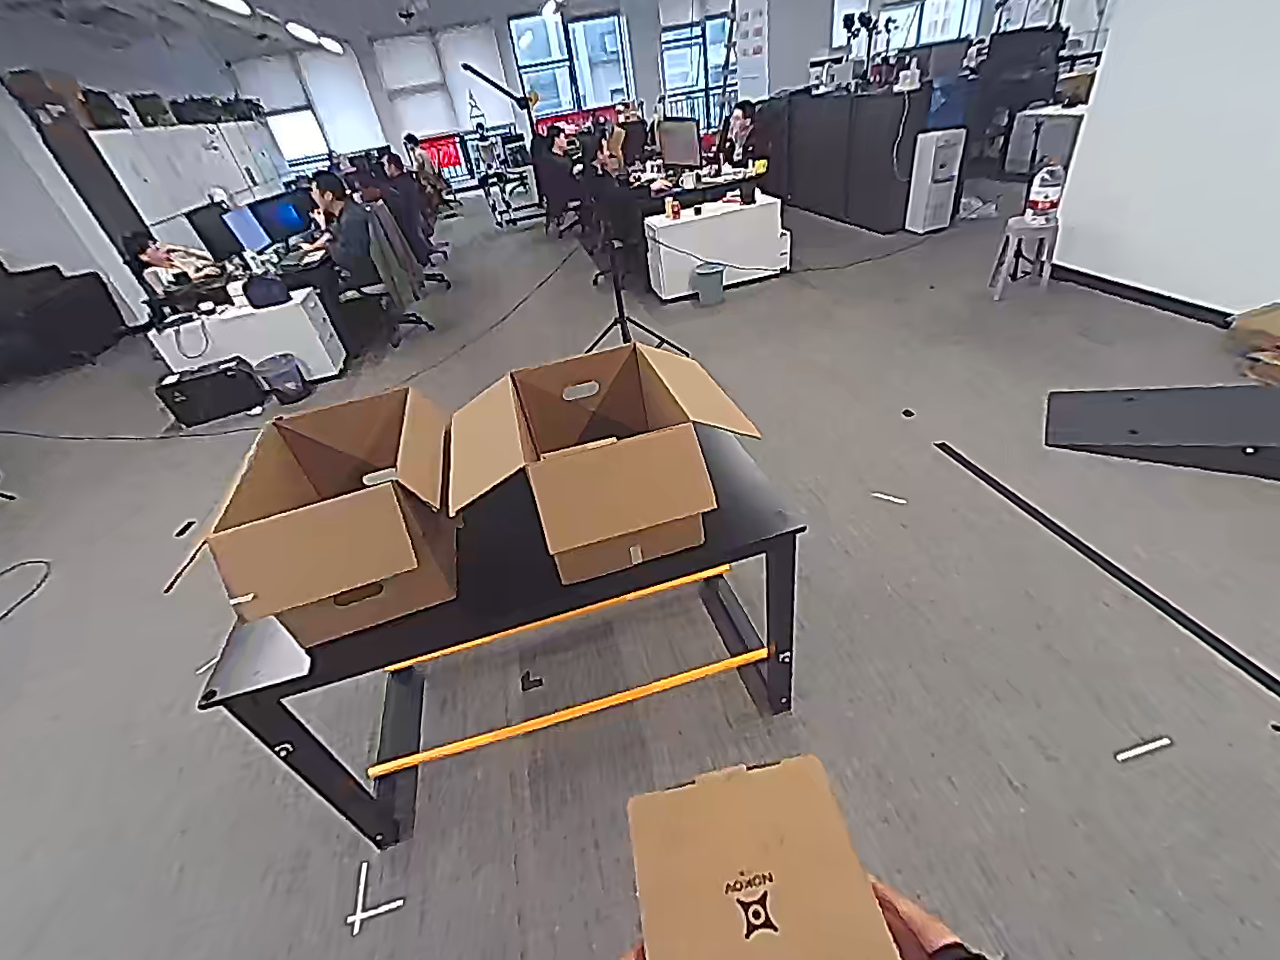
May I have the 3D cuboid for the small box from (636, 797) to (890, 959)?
[{"bbox_3d":[0.098,0.390,0.424,0.168,0.176,0.179,-13,38,-1],"label":"small box"}]
